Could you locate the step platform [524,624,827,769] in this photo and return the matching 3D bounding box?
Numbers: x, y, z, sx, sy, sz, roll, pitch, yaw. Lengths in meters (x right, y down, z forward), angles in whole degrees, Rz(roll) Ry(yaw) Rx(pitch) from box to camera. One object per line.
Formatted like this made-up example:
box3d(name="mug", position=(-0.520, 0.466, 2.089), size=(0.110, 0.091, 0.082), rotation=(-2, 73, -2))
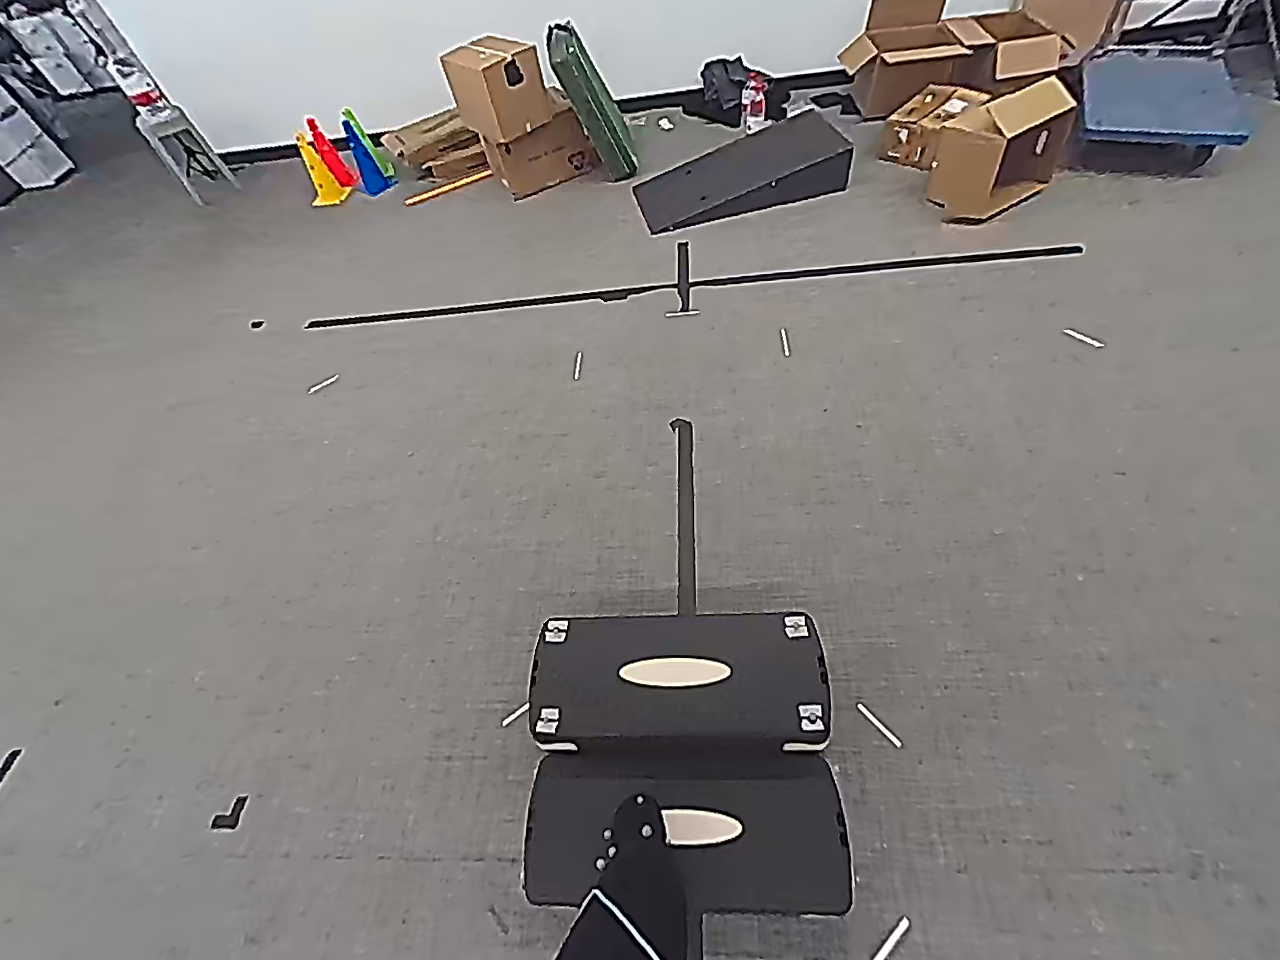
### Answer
box3d(name="step platform", position=(0.077, 0.506, 1.269), size=(0.684, 0.204, 0.286), rotation=(-3, 55, 5))
